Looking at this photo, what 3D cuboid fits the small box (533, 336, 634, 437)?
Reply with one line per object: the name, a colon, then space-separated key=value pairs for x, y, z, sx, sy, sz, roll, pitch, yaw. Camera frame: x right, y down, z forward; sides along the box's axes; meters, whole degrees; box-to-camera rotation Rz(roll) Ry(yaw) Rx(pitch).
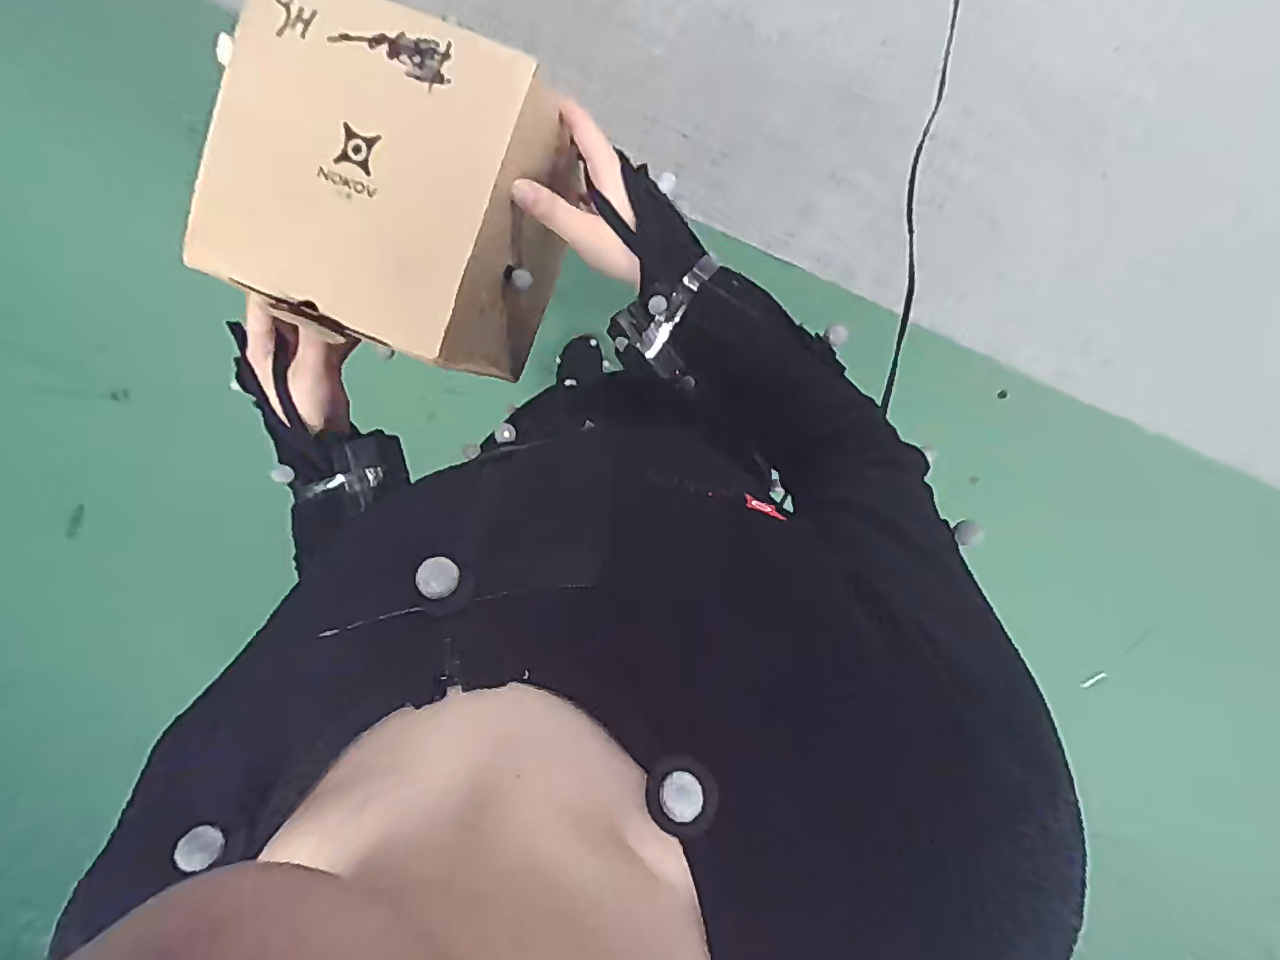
small box: x=-0.133 y=-0.218 z=1.278 sx=0.168 sy=0.176 sz=0.179 roll=-42 pitch=93 yaw=8
